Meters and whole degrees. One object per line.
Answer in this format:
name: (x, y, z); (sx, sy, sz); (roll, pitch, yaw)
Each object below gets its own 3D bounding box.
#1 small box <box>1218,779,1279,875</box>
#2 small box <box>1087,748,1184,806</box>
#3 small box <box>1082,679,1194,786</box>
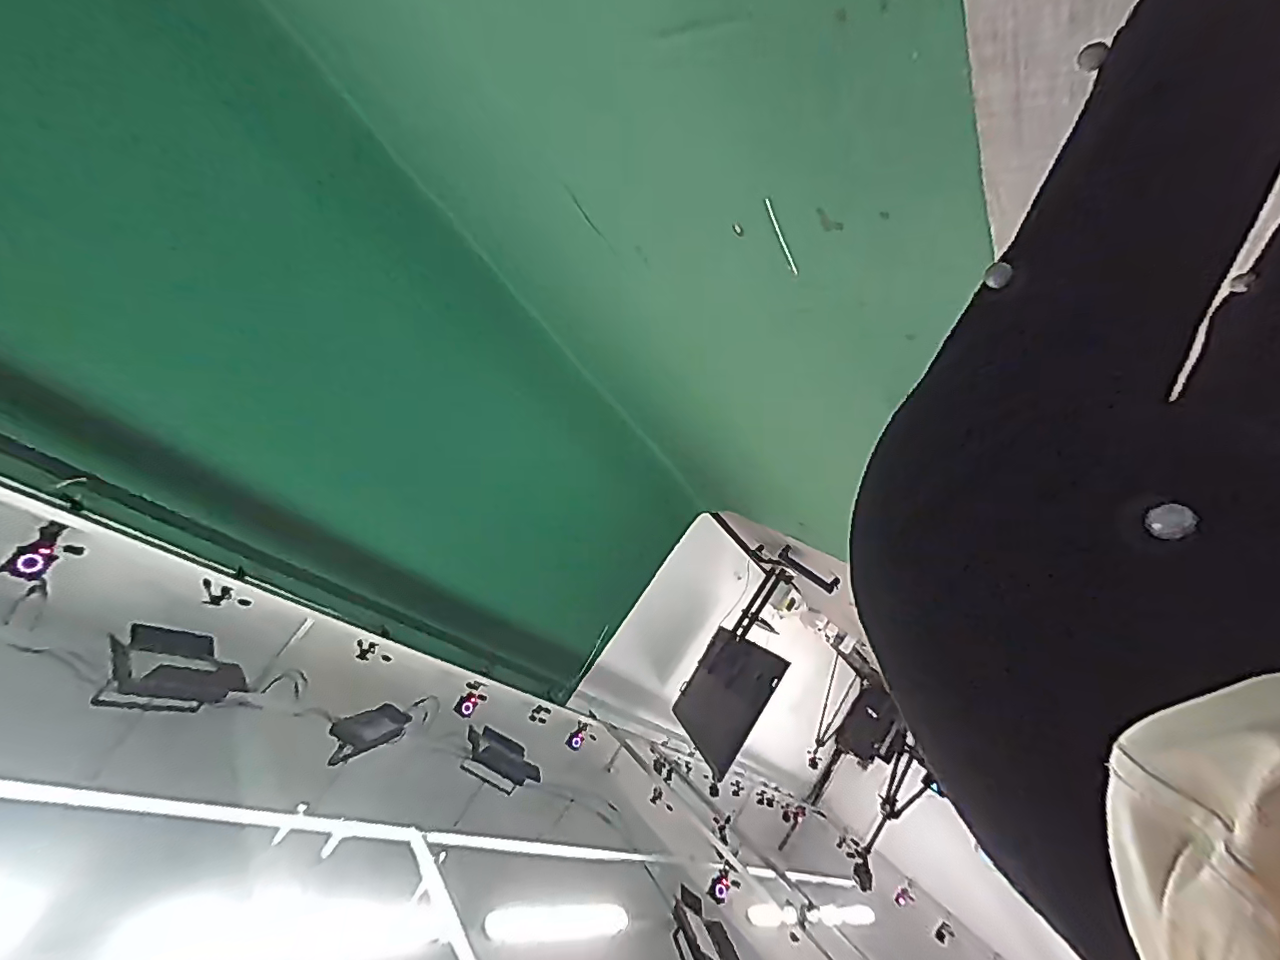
small box: (1.599, 0.879, 1.348); (0.168, 0.176, 0.179); (25, 165, 48)
small box: (1.423, 0.796, 1.556); (0.168, 0.176, 0.179); (23, 163, 48)
small box: (1.259, 0.639, 1.373); (0.168, 0.176, 0.179); (24, 166, 46)
